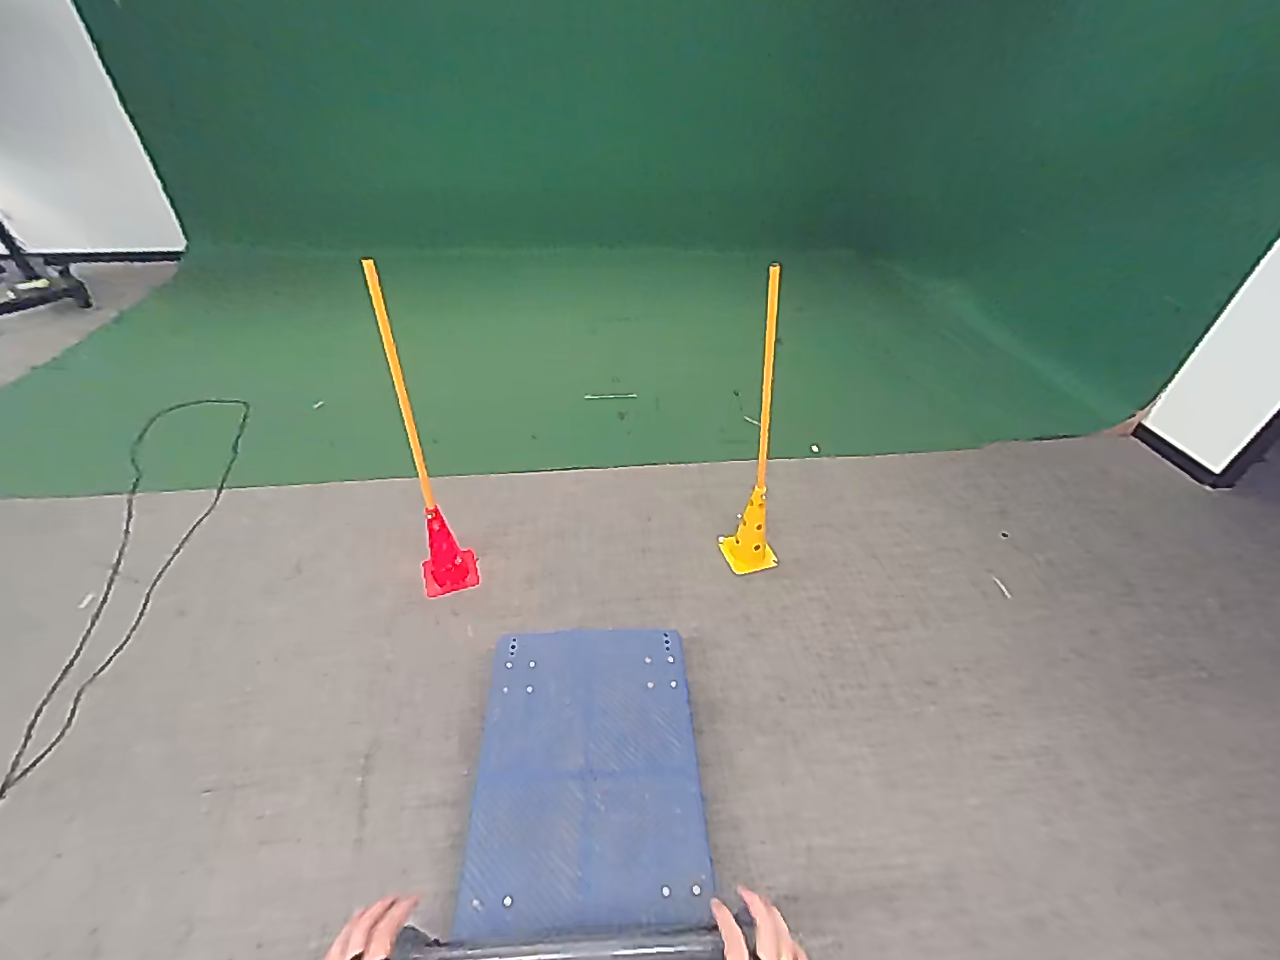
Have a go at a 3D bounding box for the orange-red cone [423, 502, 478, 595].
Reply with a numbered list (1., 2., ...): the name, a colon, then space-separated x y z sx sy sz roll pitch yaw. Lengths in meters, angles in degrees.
1. orange-red cone: -0.733 0.223 1.986 0.199 0.360 0.198 -14 42 -16
